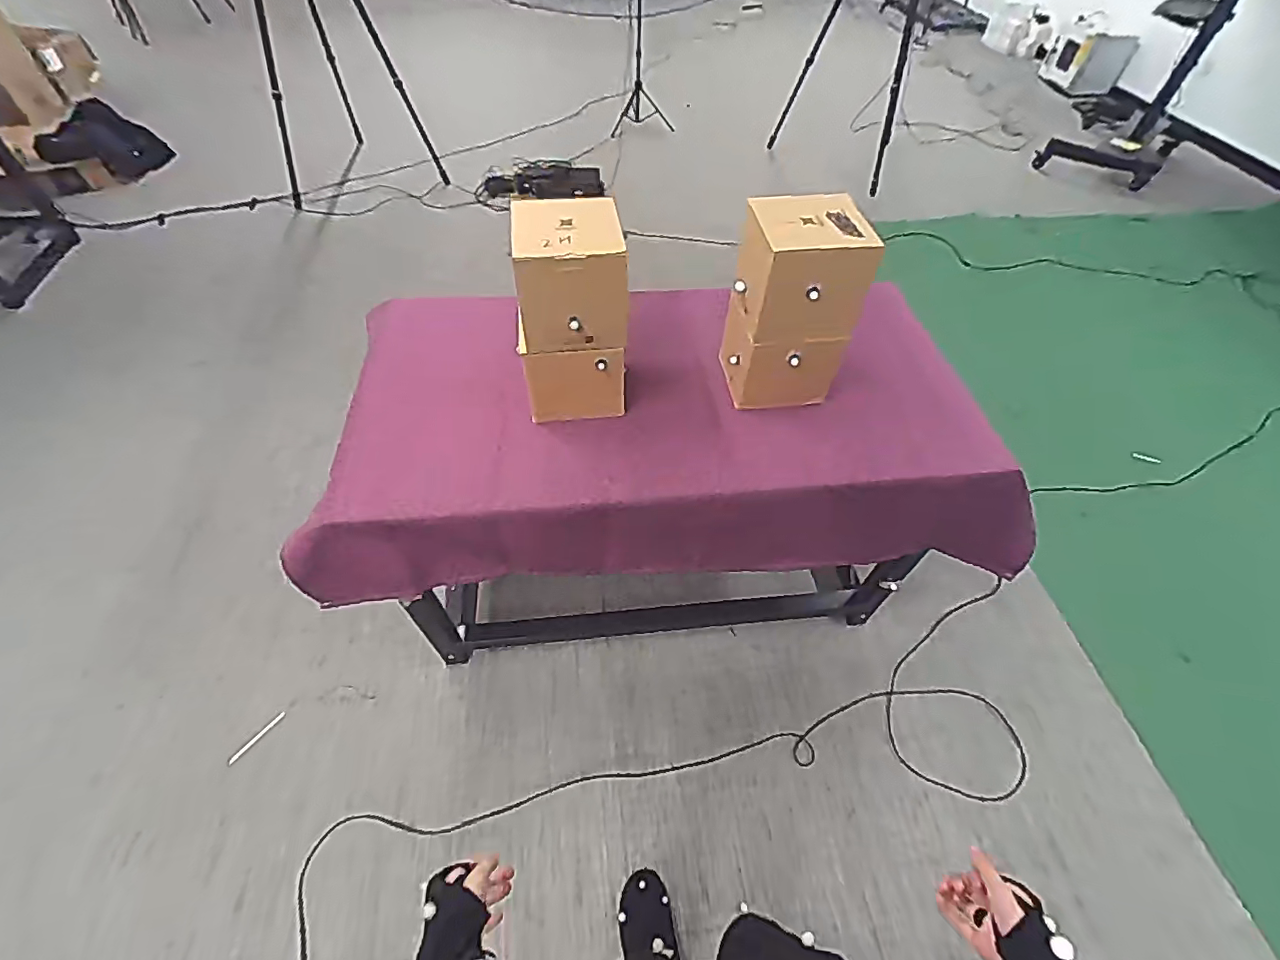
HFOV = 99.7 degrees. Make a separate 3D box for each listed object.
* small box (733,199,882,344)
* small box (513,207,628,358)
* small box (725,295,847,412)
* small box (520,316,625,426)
[{"bbox_3d":[0.268,-0.349,0.913,0.179,0.176,0.168,-6,53,-5],"label":"small box"},{"bbox_3d":[-0.113,-0.323,0.886,0.168,0.176,0.179,-6,52,-6],"label":"small box"},{"bbox_3d":[0.266,-0.246,1.042,0.179,0.176,0.168,-4,53,-5],"label":"small box"},{"bbox_3d":[-0.123,-0.216,1.012,0.179,0.176,0.168,-6,52,-7],"label":"small box"}]
